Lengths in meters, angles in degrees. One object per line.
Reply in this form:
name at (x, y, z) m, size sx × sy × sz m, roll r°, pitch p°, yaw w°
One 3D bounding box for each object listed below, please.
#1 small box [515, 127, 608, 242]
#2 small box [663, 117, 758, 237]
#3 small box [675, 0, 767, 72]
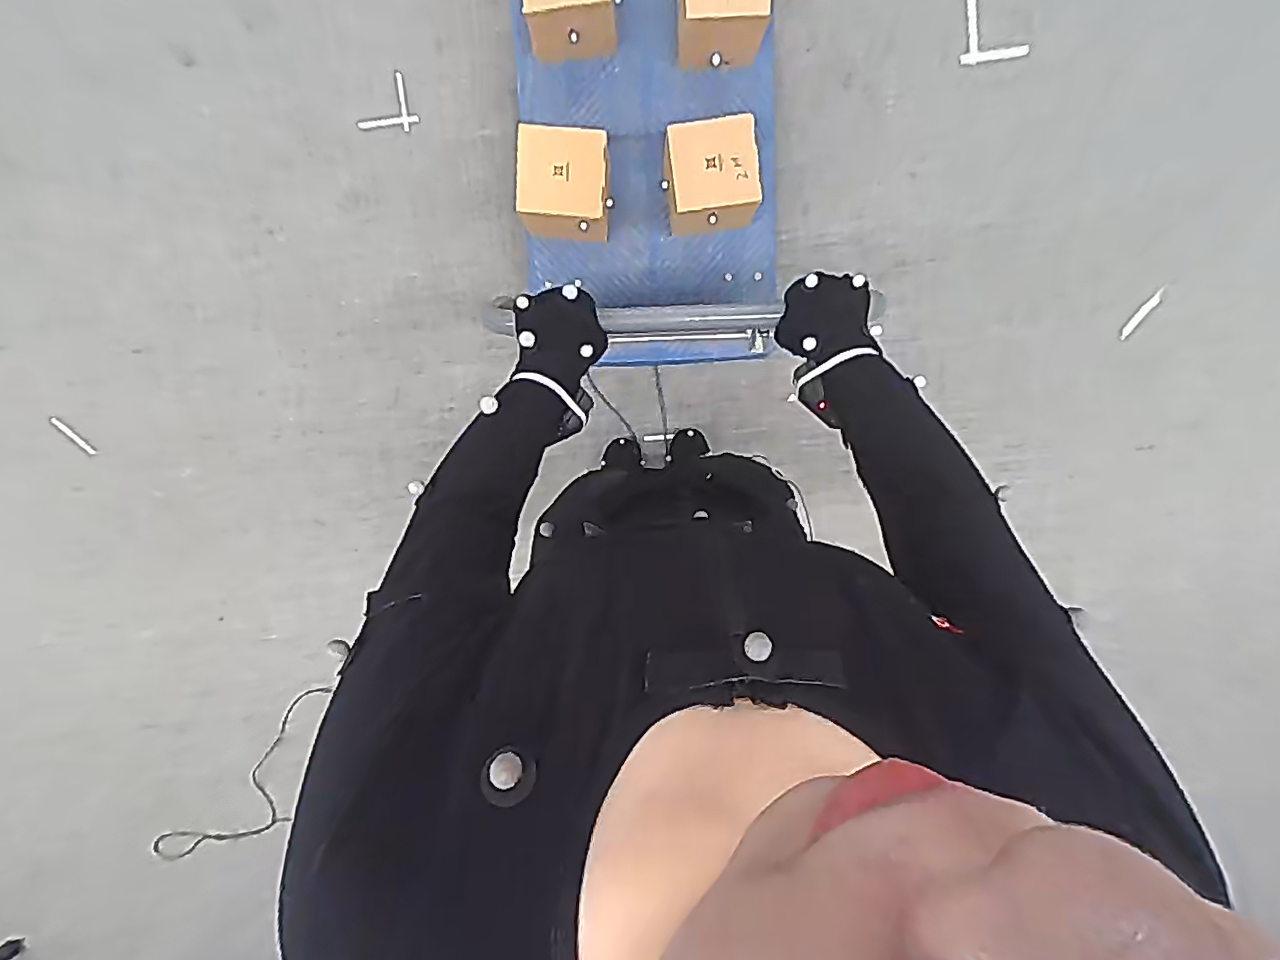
small box at (-0.162, -0.624, 1.162) m, size 0.179 × 0.176 × 0.168 m, roll 3°, pitch 97°, yaw -2°
small box at (0.145, -0.640, 1.162) m, size 0.179 × 0.176 × 0.168 m, roll -8°, pitch 98°, yaw 0°
small box at (0.161, -0.989, 1.118) m, size 0.168 × 0.176 × 0.179 m, roll -3°, pitch 98°, yaw 0°
